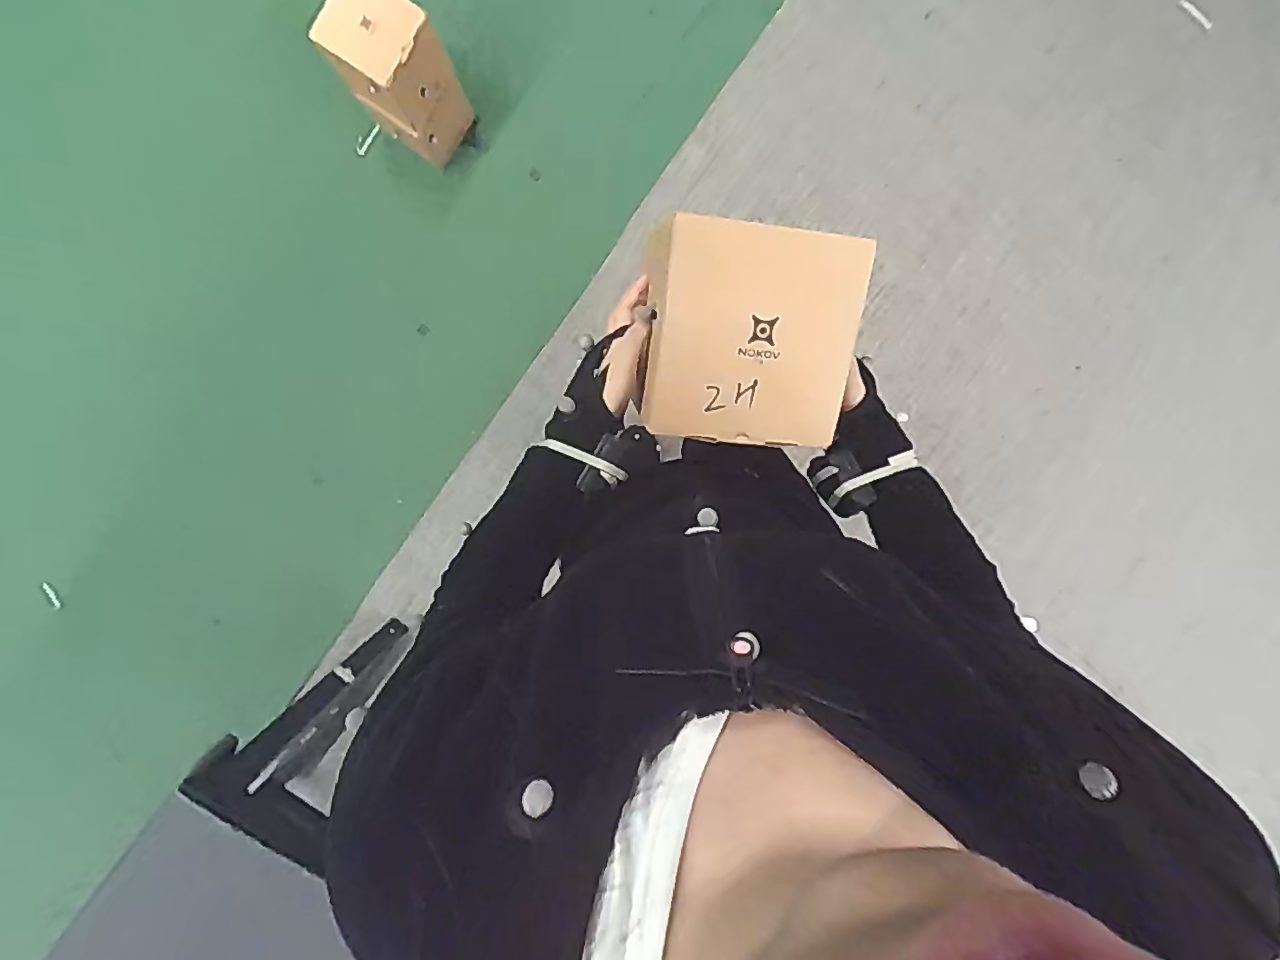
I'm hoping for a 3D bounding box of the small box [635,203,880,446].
[{"bbox_3d":[0.091,-0.143,0.513,0.168,0.176,0.179,5,108,-8],"label":"small box"}]

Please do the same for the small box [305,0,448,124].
[{"bbox_3d":[-0.536,-0.892,1.124,0.179,0.176,0.168,32,94,-5],"label":"small box"}]
